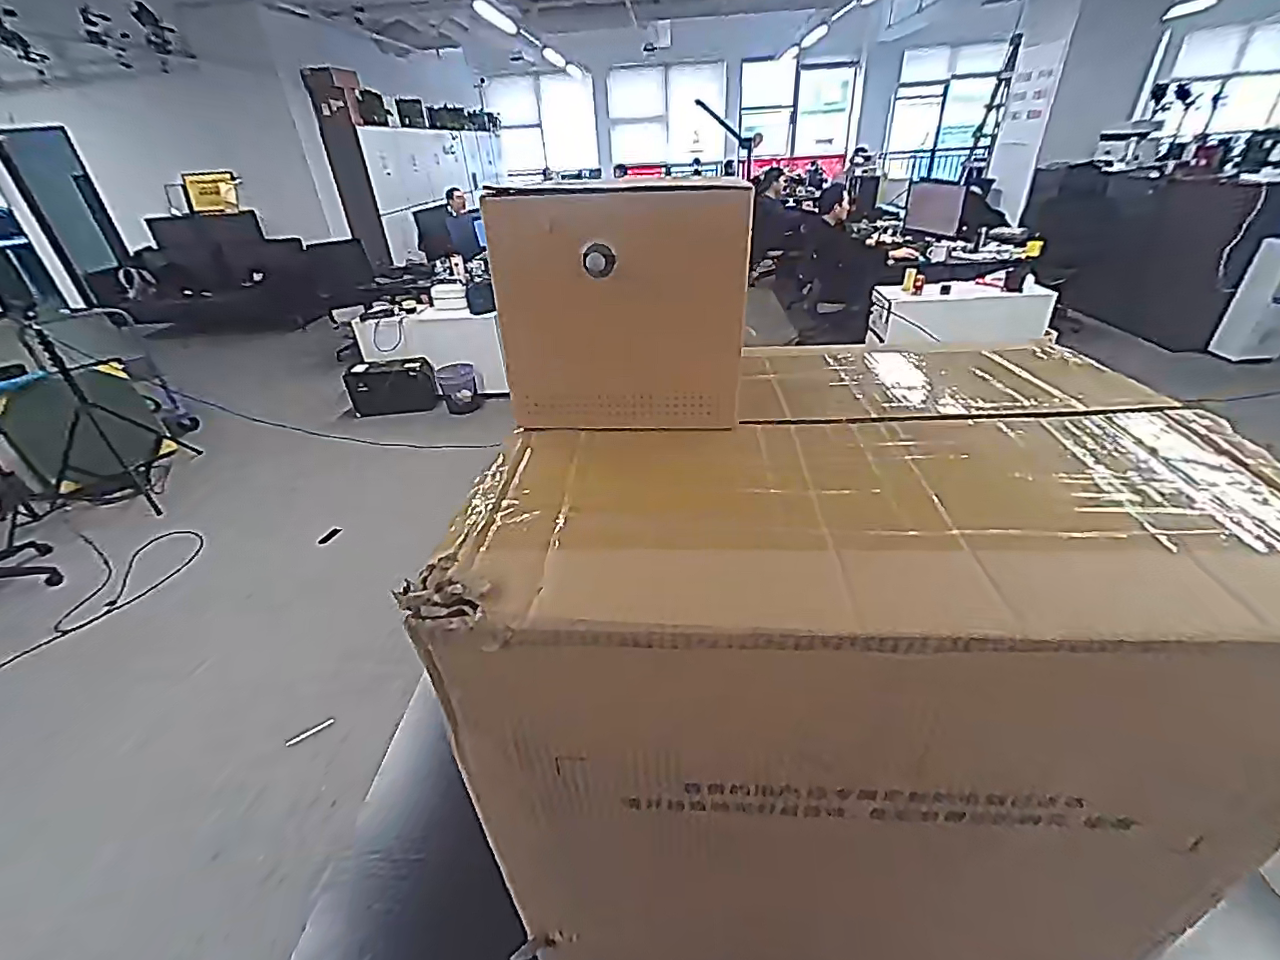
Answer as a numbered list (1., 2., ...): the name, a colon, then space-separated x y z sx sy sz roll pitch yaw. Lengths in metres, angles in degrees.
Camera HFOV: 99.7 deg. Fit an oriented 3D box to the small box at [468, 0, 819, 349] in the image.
1. small box: 0.008 -0.192 0.368 0.179 0.176 0.168 1 31 4
